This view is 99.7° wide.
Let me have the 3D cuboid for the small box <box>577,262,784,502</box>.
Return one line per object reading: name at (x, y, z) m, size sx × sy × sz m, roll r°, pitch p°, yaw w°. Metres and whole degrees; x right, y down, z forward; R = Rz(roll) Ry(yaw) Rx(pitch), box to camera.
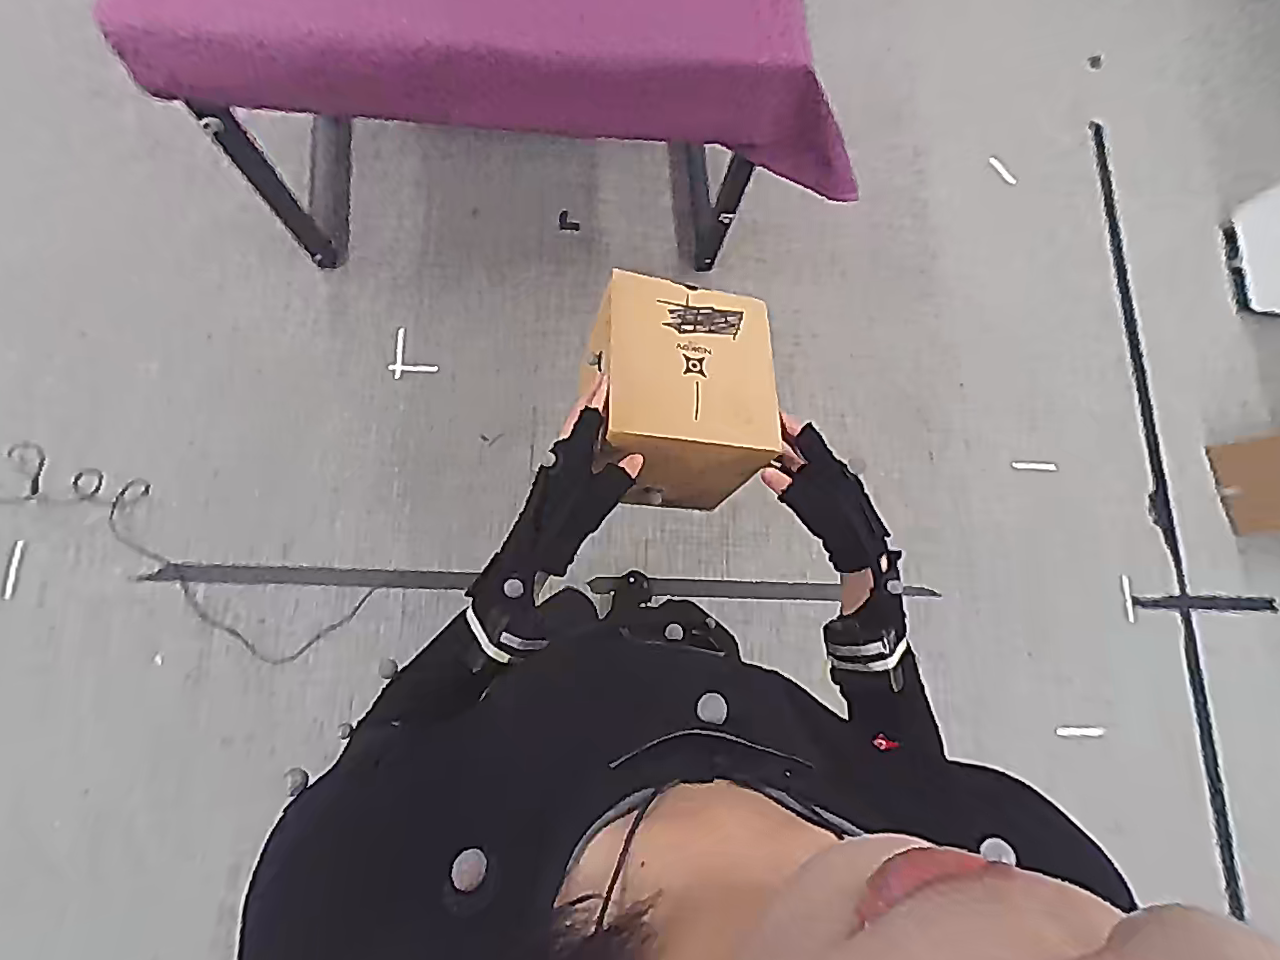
small box at (0.028, -0.091, 0.572) m, size 0.168 × 0.176 × 0.179 m, roll 5°, pitch 66°, yaw -15°
